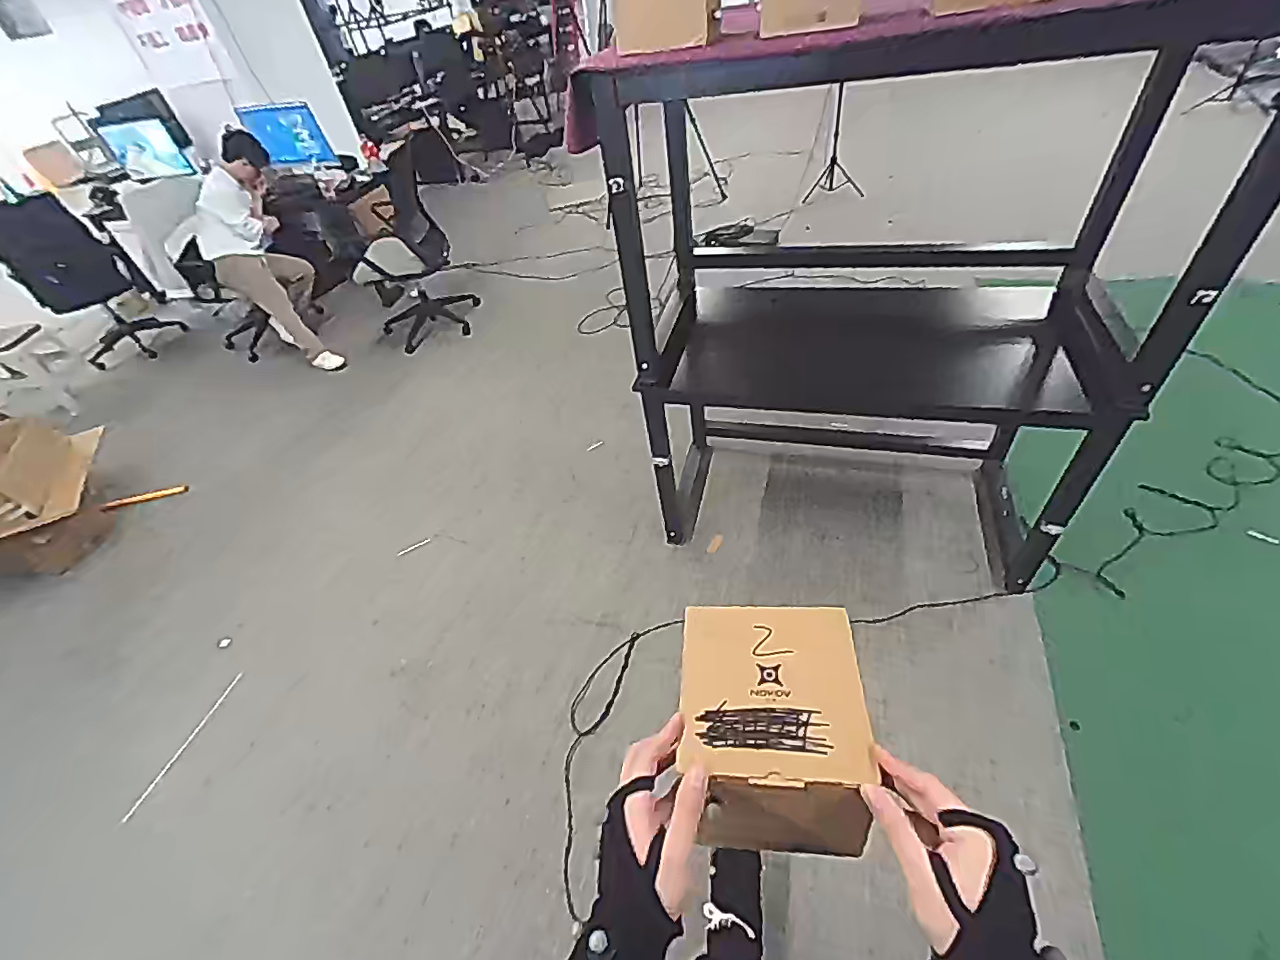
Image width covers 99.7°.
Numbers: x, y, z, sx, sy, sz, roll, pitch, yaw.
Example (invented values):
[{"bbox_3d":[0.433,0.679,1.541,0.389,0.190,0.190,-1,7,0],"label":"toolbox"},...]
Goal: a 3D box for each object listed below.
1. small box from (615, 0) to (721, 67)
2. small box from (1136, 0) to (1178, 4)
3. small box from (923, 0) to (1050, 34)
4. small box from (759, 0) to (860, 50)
[{"bbox_3d":[0.053,-0.902,1.023,0.179,0.176,0.168,6,46,16],"label":"small box"},{"bbox_3d":[0.840,-0.810,0.773,0.179,0.176,0.168,9,48,20],"label":"small box"},{"bbox_3d":[0.570,-0.844,0.865,0.179,0.176,0.168,6,45,19],"label":"small box"},{"bbox_3d":[0.302,-0.875,0.947,0.168,0.176,0.179,6,46,17],"label":"small box"}]
